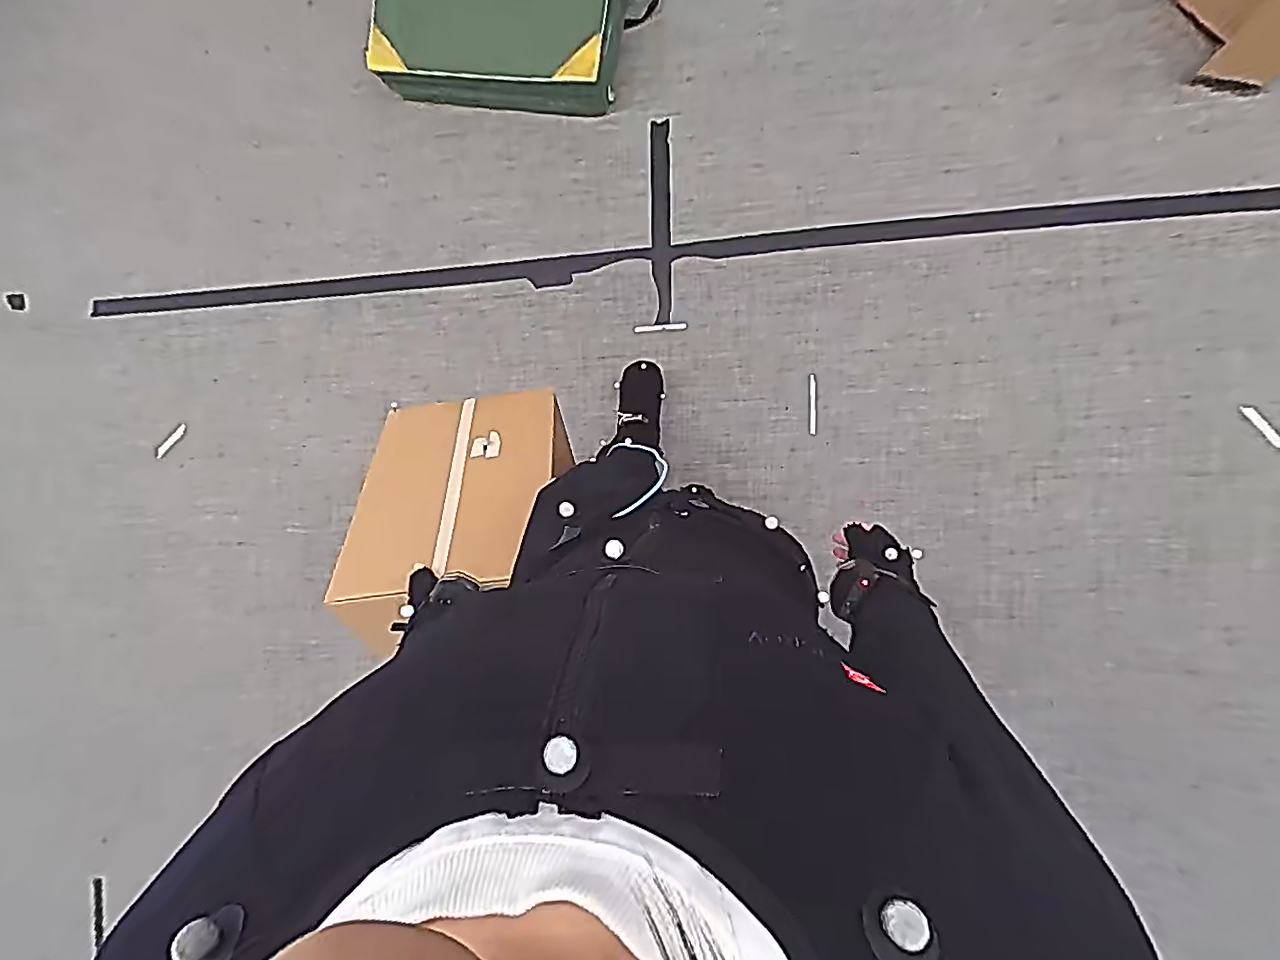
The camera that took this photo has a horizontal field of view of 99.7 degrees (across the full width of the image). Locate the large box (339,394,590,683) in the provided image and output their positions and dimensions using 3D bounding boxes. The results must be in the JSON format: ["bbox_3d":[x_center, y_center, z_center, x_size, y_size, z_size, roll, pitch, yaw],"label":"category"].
[{"bbox_3d":[-0.273,0.103,0.988,0.320,0.320,0.408,-7,47,0],"label":"large box"}]
